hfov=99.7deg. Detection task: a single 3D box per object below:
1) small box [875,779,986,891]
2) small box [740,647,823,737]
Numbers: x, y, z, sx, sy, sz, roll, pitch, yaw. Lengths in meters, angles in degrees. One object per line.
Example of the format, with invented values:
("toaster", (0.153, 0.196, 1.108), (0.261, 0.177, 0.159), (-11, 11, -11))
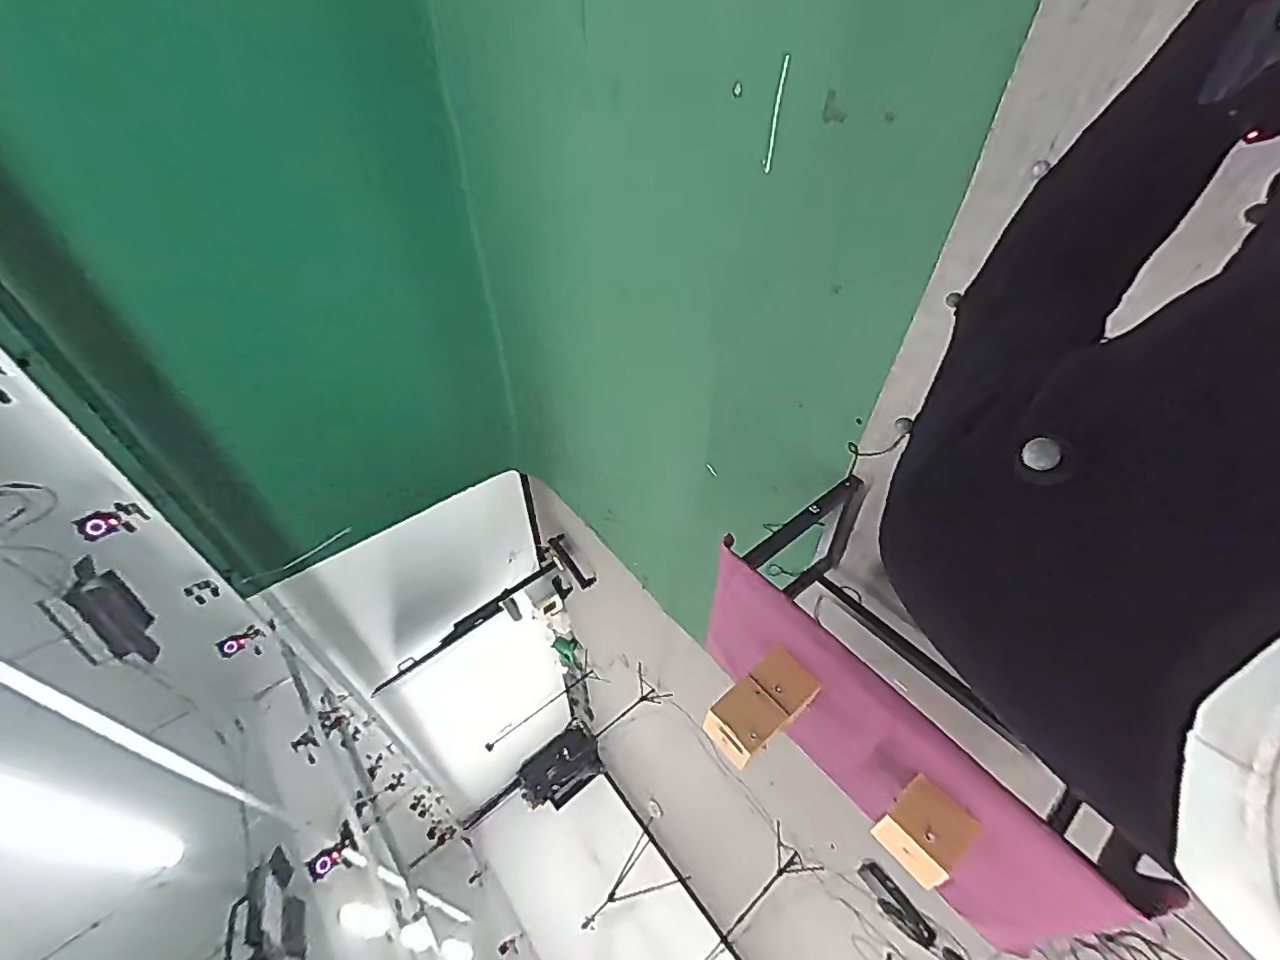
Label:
("small box", (0.768, 0.932, 1.437), (0.179, 0.176, 0.168), (39, 146, 34))
("small box", (0.449, 0.668, 1.713), (0.179, 0.176, 0.168), (43, 148, 31))
